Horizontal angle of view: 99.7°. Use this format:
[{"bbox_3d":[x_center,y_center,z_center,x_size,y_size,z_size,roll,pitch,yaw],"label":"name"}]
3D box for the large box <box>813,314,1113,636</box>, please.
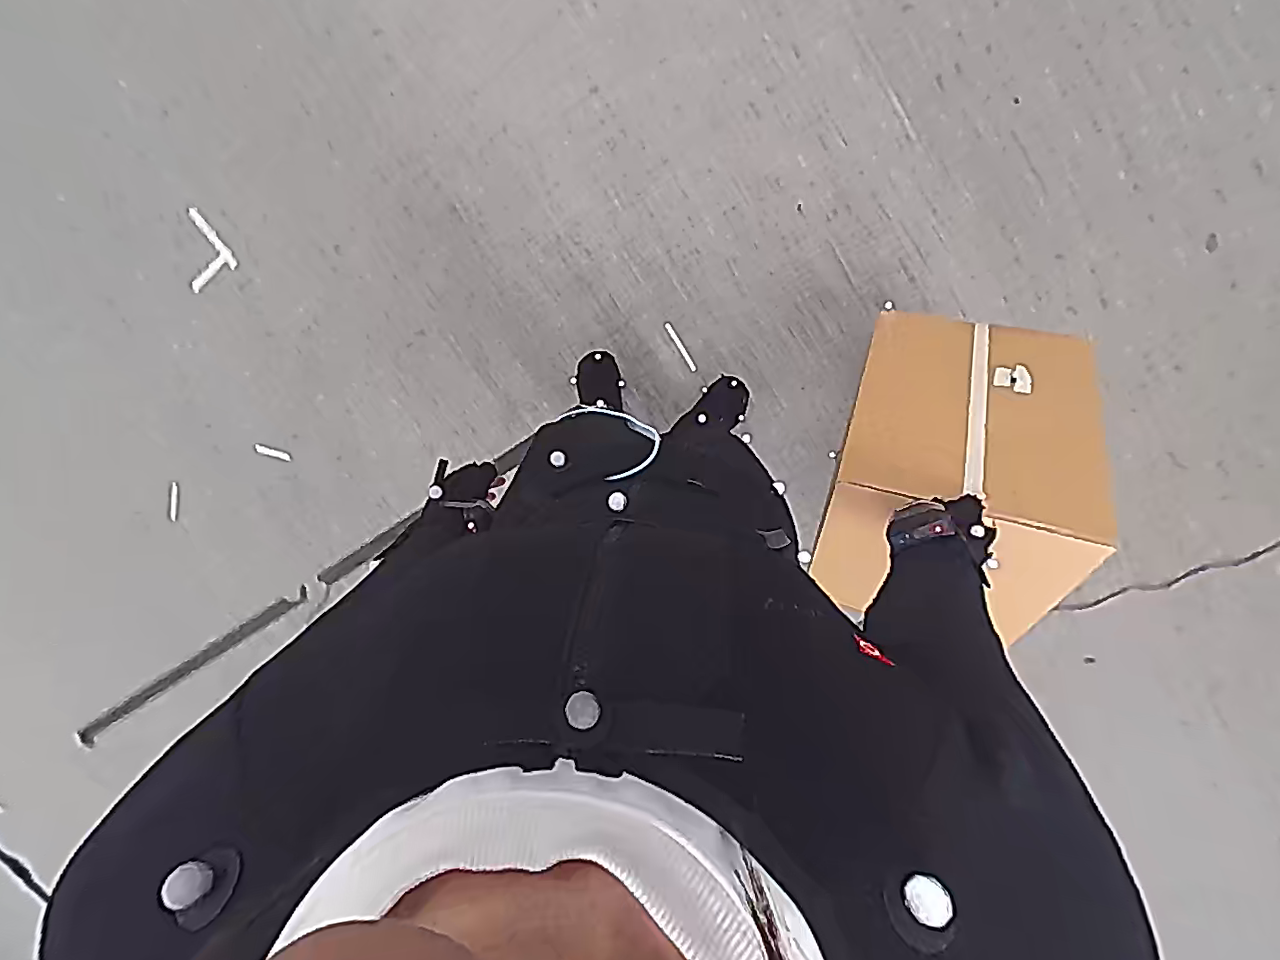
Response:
[{"bbox_3d":[0.494,-0.018,0.899,0.320,0.408,0.320,14,143,17],"label":"large box"}]
